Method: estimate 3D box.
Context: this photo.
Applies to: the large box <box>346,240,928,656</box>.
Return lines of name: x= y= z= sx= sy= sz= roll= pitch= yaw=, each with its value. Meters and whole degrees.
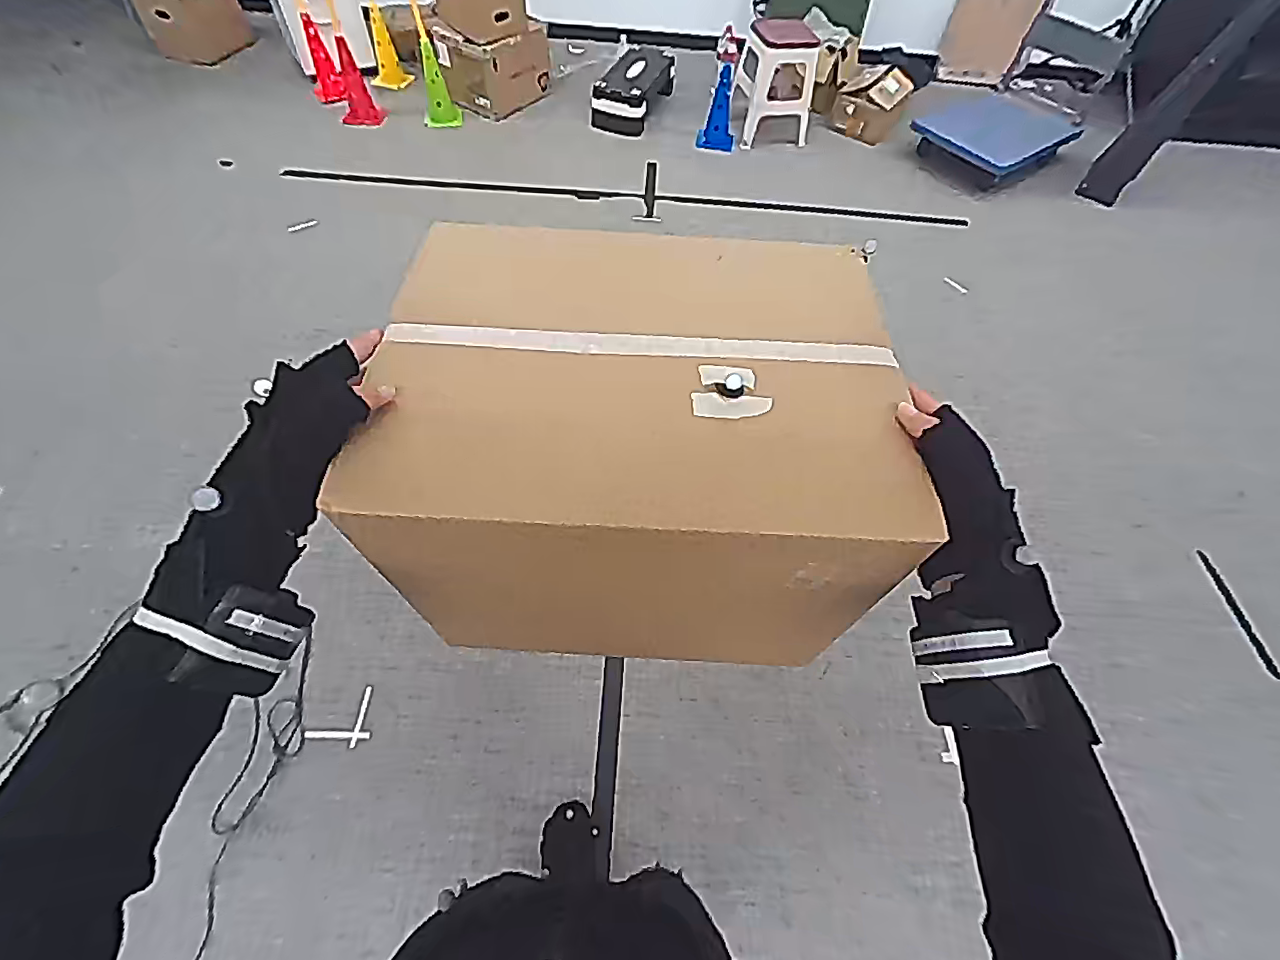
large box: x=-0.003 y=-0.015 z=0.567 sx=0.408 sy=0.320 sz=0.320 roll=3 pitch=58 yaw=-1
